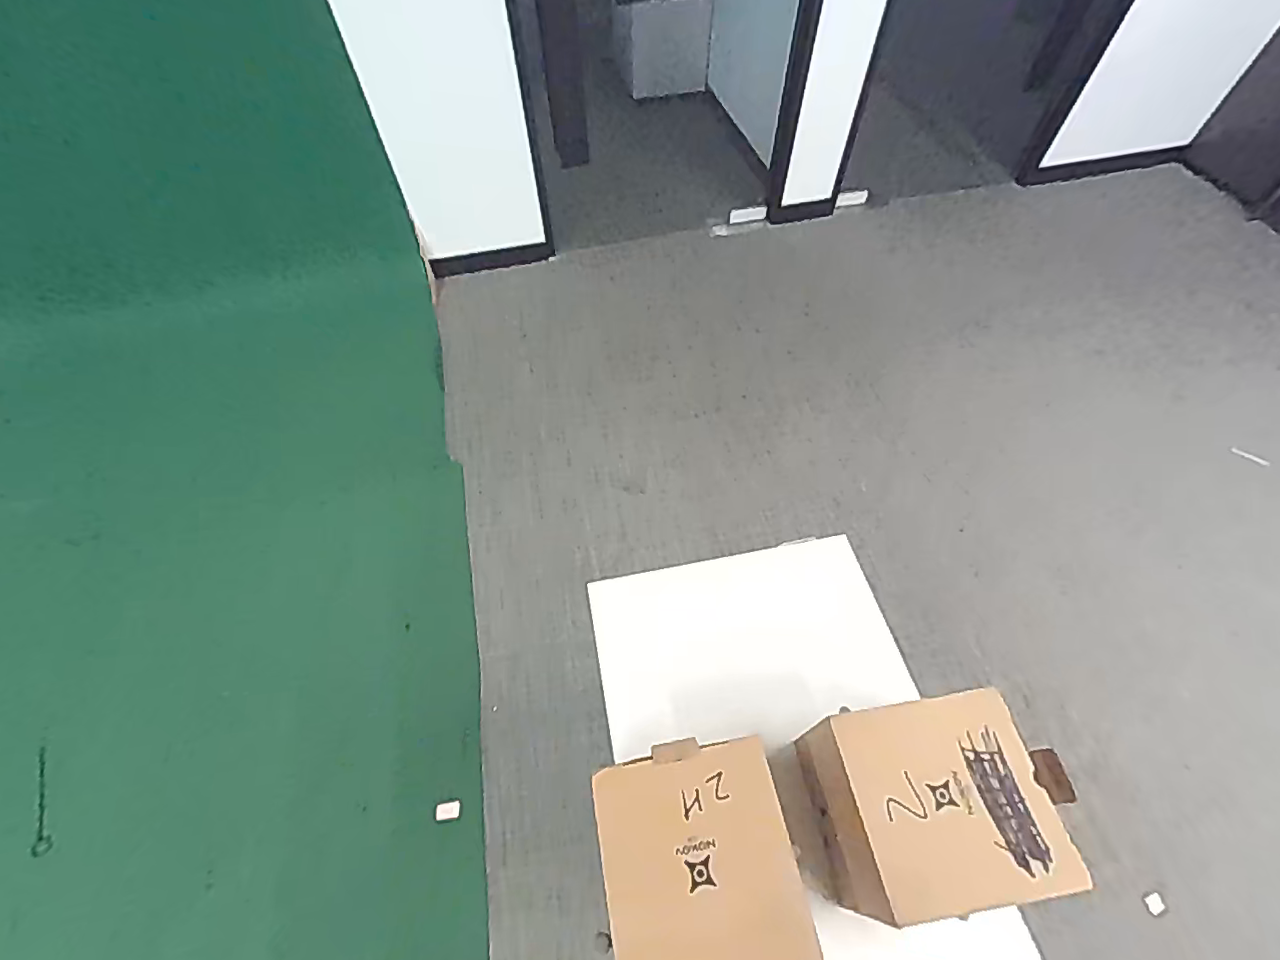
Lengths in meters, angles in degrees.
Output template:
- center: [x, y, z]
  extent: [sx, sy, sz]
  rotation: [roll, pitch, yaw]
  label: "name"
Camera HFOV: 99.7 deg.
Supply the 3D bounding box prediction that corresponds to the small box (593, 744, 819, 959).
- center: [0.050, 0.376, 0.527]
  extent: [0.168, 0.176, 0.179]
  rotation: [-8, 56, -6]
  label: "small box"
